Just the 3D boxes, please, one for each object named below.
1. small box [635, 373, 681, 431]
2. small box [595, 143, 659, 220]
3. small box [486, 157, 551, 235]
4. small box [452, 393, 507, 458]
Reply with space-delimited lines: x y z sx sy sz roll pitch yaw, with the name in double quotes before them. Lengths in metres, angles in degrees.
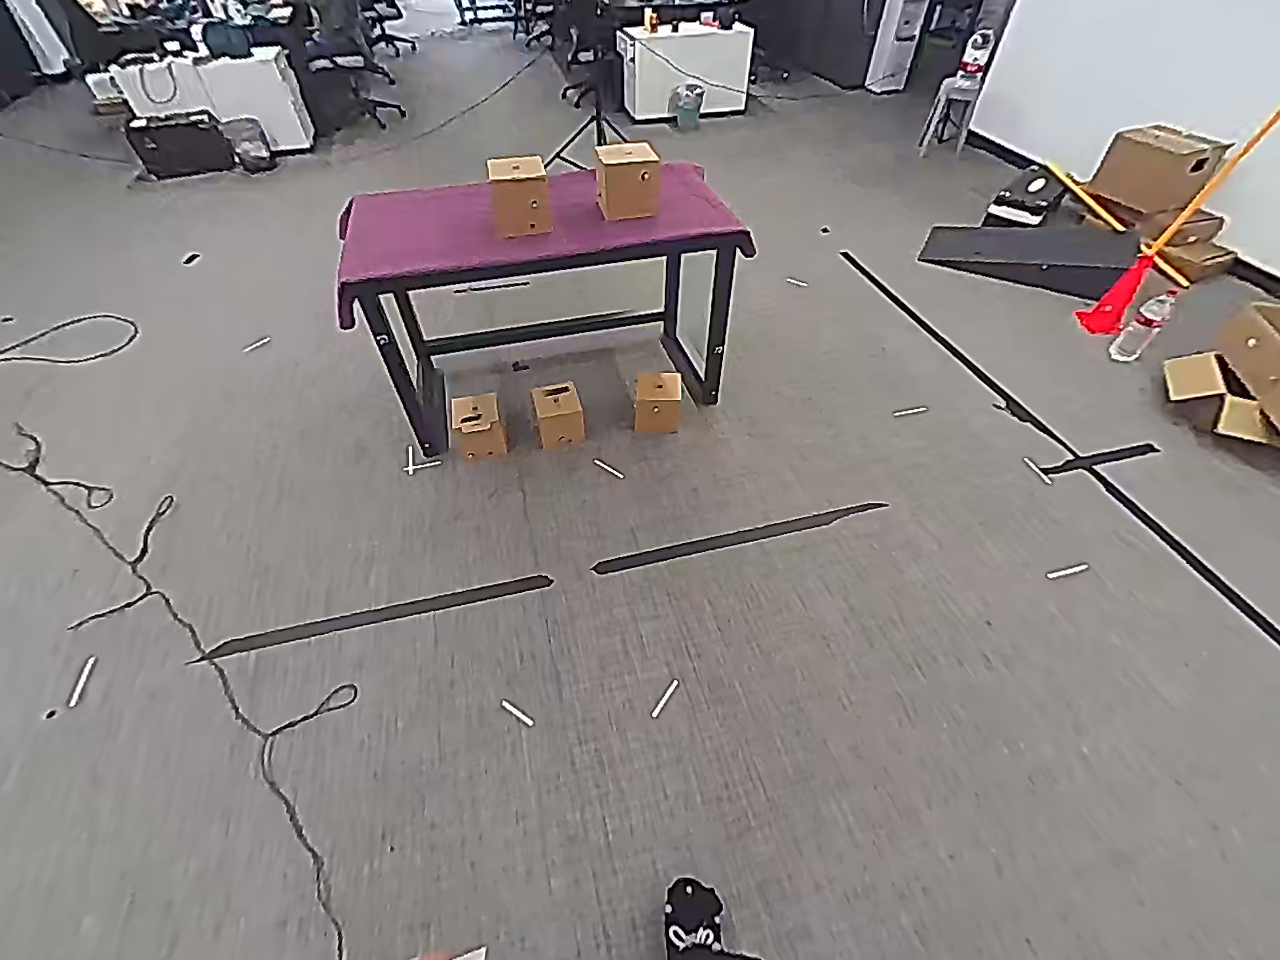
"small box" 0.071 -0.306 2.140 0.179 0.176 0.168 0 49 2
"small box" -0.044 -0.961 1.742 0.179 0.176 0.168 -11 49 -8
"small box" -0.372 -0.870 1.666 0.168 0.176 0.179 -10 47 -10
"small box" -0.607 -0.201 2.048 0.168 0.176 0.179 -11 49 -9
